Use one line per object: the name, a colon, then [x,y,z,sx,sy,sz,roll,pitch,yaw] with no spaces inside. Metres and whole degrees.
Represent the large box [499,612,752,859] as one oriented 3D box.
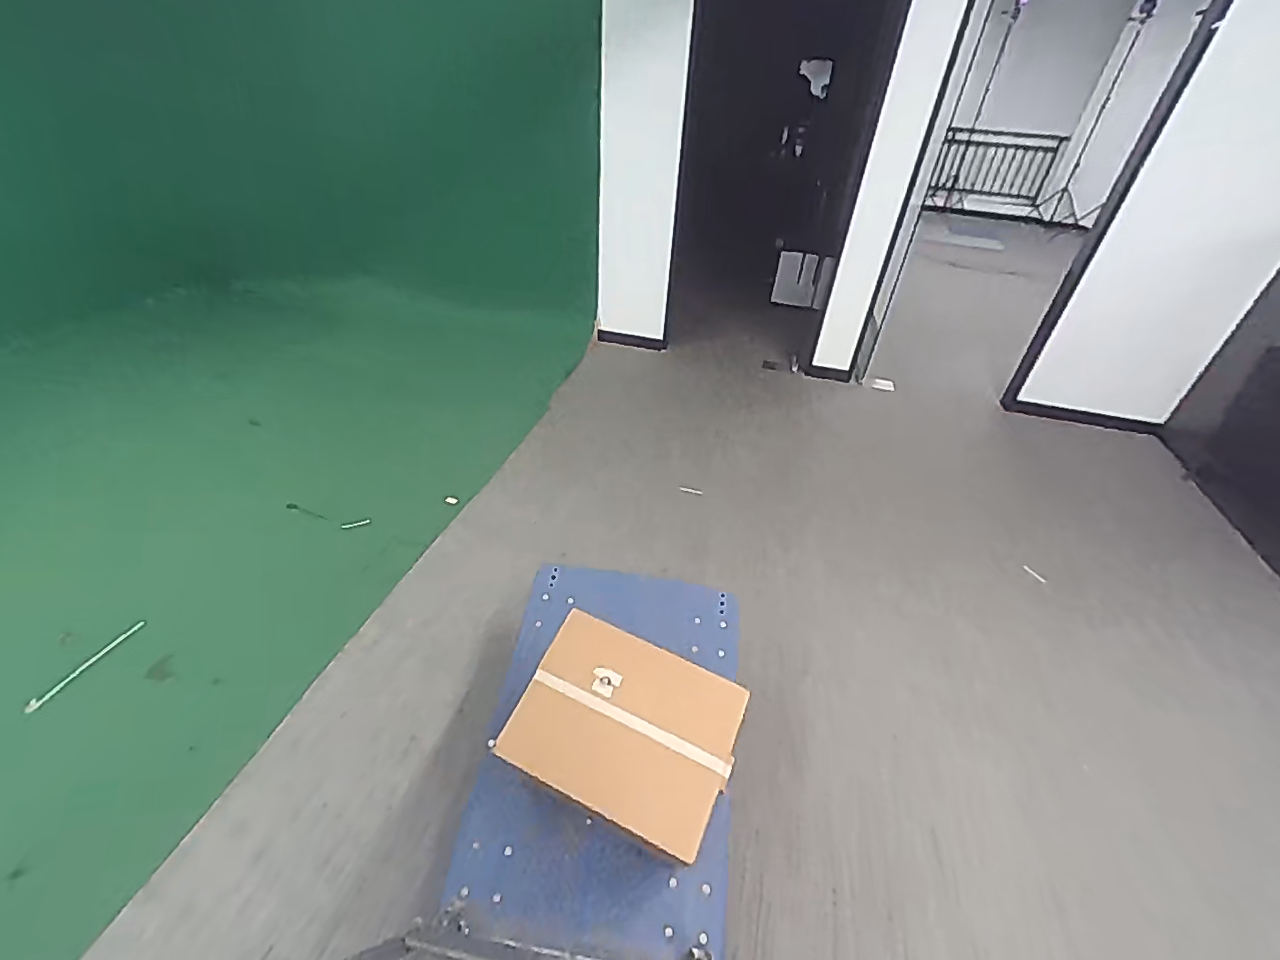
large box: [-0.016,0.543,1.147,0.408,0.320,0.320,21,56,15]
